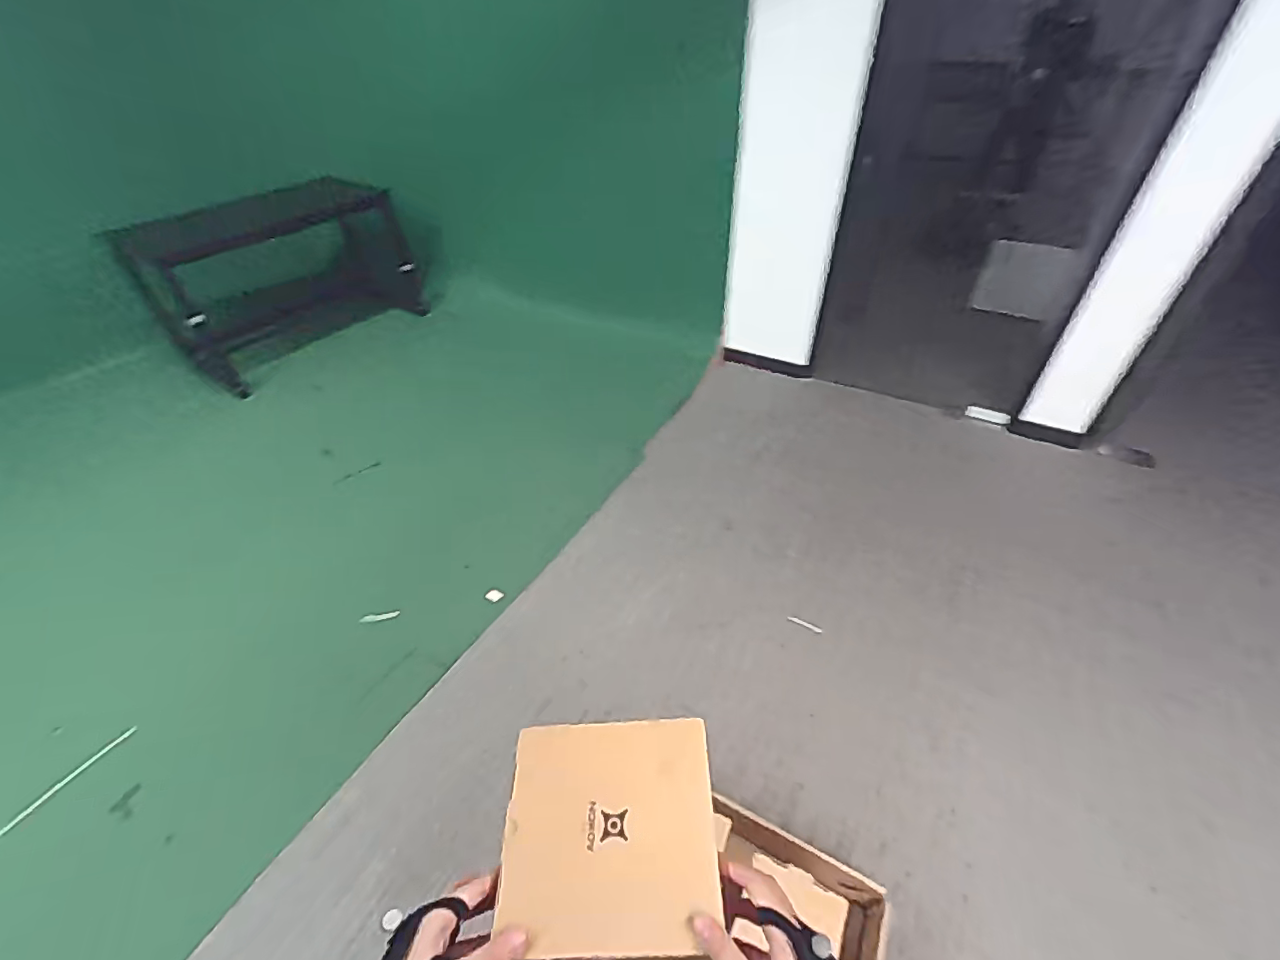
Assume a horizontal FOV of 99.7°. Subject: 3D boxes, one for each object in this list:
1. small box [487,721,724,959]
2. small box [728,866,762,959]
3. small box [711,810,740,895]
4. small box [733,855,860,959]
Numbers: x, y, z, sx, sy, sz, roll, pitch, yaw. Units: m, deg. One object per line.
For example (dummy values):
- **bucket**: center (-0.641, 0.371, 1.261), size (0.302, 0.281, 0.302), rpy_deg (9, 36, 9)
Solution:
- **small box**: center (-0.019, 0.343, 0.501), size (0.179, 0.176, 0.168), rpy_deg (-7, 44, 4)
- **small box**: center (0.277, 0.908, 1.064), size (0.179, 0.176, 0.168), rpy_deg (14, 46, 19)
- **small box**: center (0.081, 0.731, 1.032), size (0.168, 0.176, 0.179), rpy_deg (18, 48, 18)
- **small box**: center (0.264, 0.804, 0.937), size (0.168, 0.176, 0.179), rpy_deg (17, 46, 22)
